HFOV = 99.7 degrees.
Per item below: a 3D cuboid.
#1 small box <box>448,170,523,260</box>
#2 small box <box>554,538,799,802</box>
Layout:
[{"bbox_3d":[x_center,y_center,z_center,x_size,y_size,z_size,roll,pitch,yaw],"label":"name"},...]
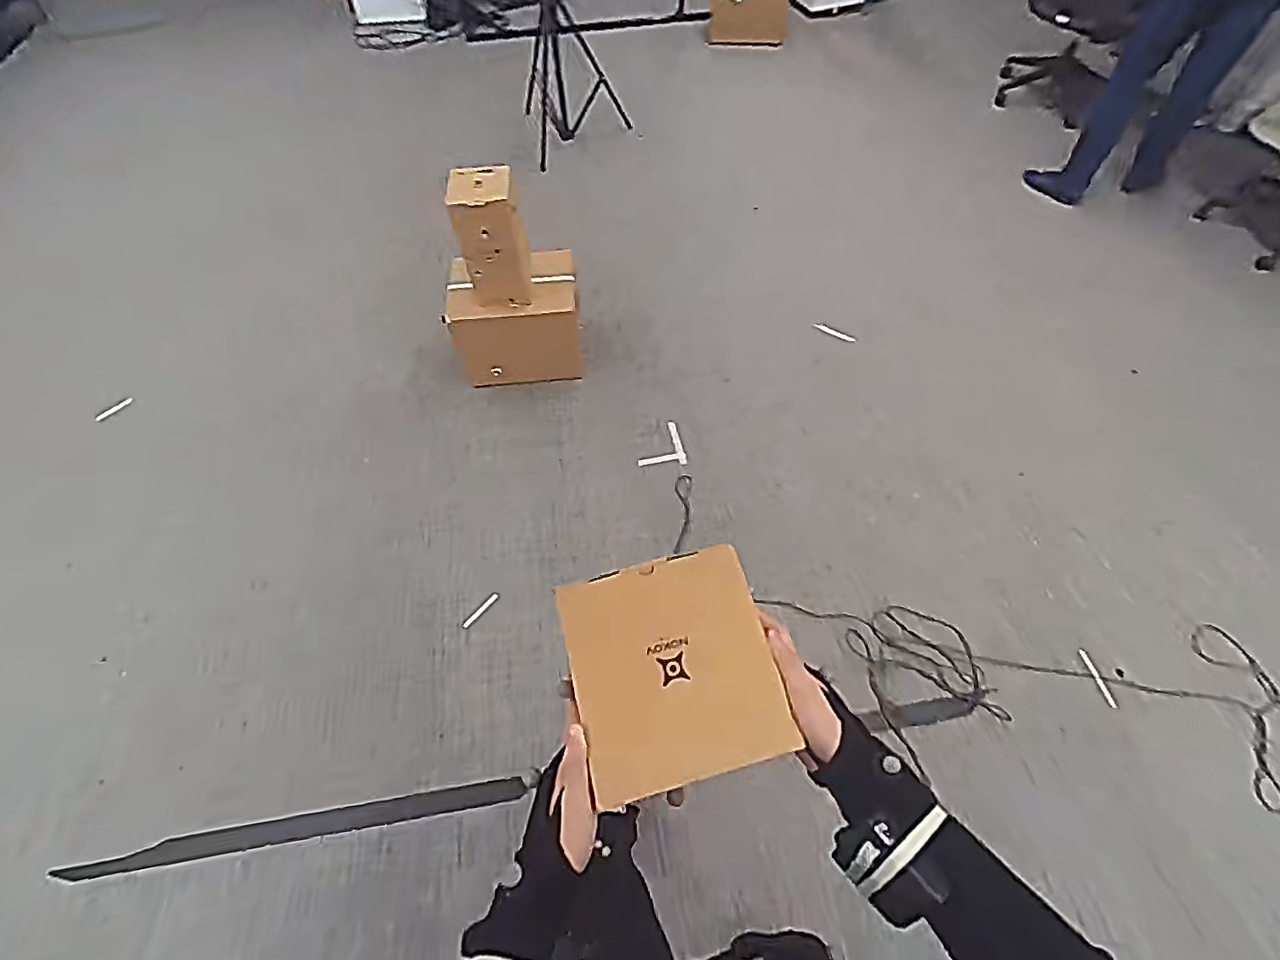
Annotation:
[{"bbox_3d":[-0.430,-0.745,1.536,0.168,0.176,0.179,-5,59,-2],"label":"small box"},{"bbox_3d":[0.026,0.181,0.513,0.168,0.176,0.179,-14,62,-6],"label":"small box"}]
